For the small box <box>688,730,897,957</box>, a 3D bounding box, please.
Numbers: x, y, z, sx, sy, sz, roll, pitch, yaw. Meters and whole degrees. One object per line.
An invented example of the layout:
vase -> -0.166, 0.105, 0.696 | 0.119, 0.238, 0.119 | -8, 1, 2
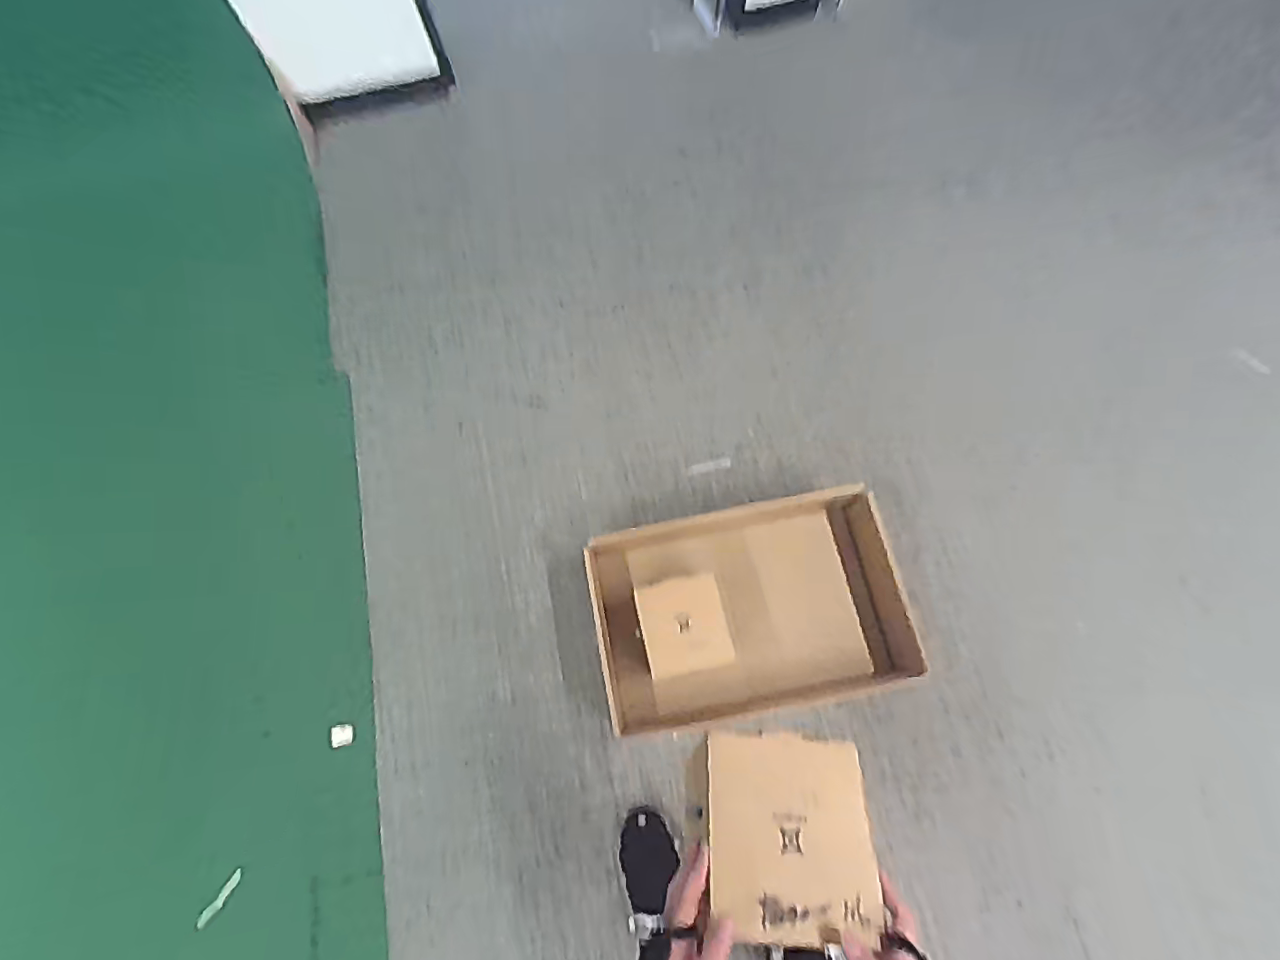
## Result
small box -> 0.144, 0.391, 0.586 | 0.168, 0.176, 0.179 | 5, 52, -1
